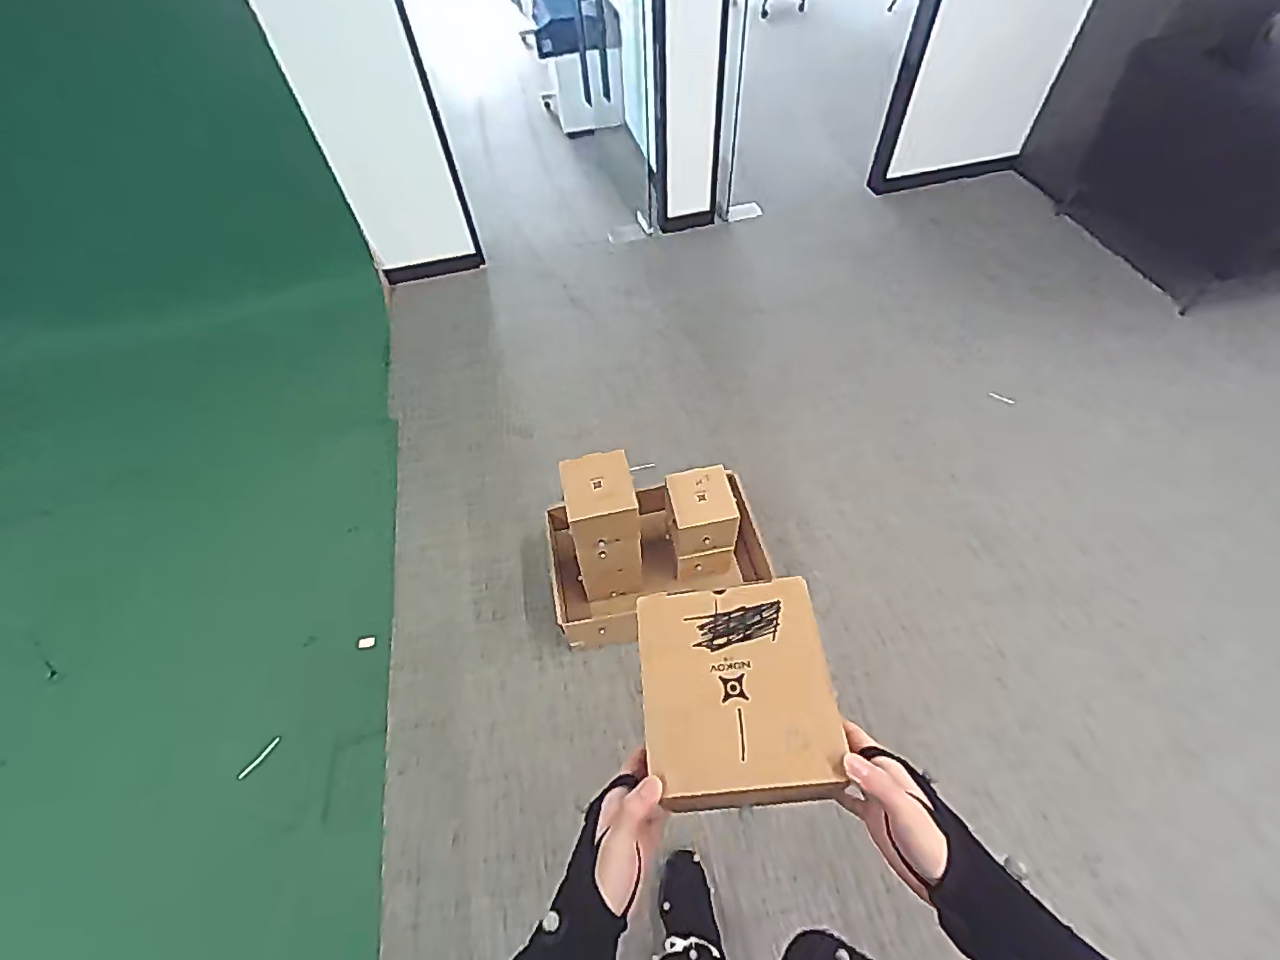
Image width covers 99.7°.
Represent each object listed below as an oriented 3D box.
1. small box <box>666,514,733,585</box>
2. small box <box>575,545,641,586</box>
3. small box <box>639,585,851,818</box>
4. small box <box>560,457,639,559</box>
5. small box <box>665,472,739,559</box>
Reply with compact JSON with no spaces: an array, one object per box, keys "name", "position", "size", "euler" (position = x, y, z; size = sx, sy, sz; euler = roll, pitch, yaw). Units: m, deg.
[{"name":"small box","position":[0.177,0.204,1.636],"size":[0.168,0.176,0.179],"euler":[-10,55,-3]},{"name":"small box","position":[-0.095,0.164,1.475],"size":[0.168,0.176,0.179],"euler":[-11,55,-6]},{"name":"small box","position":[0.094,0.226,0.542],"size":[0.168,0.176,0.179],"euler":[-8,54,6]},{"name":"small box","position":[-0.098,0.071,1.340],"size":[0.168,0.176,0.179],"euler":[-11,56,-5]},{"name":"small box","position":[0.169,0.107,1.503],"size":[0.168,0.176,0.179],"euler":[-10,55,-3]}]
